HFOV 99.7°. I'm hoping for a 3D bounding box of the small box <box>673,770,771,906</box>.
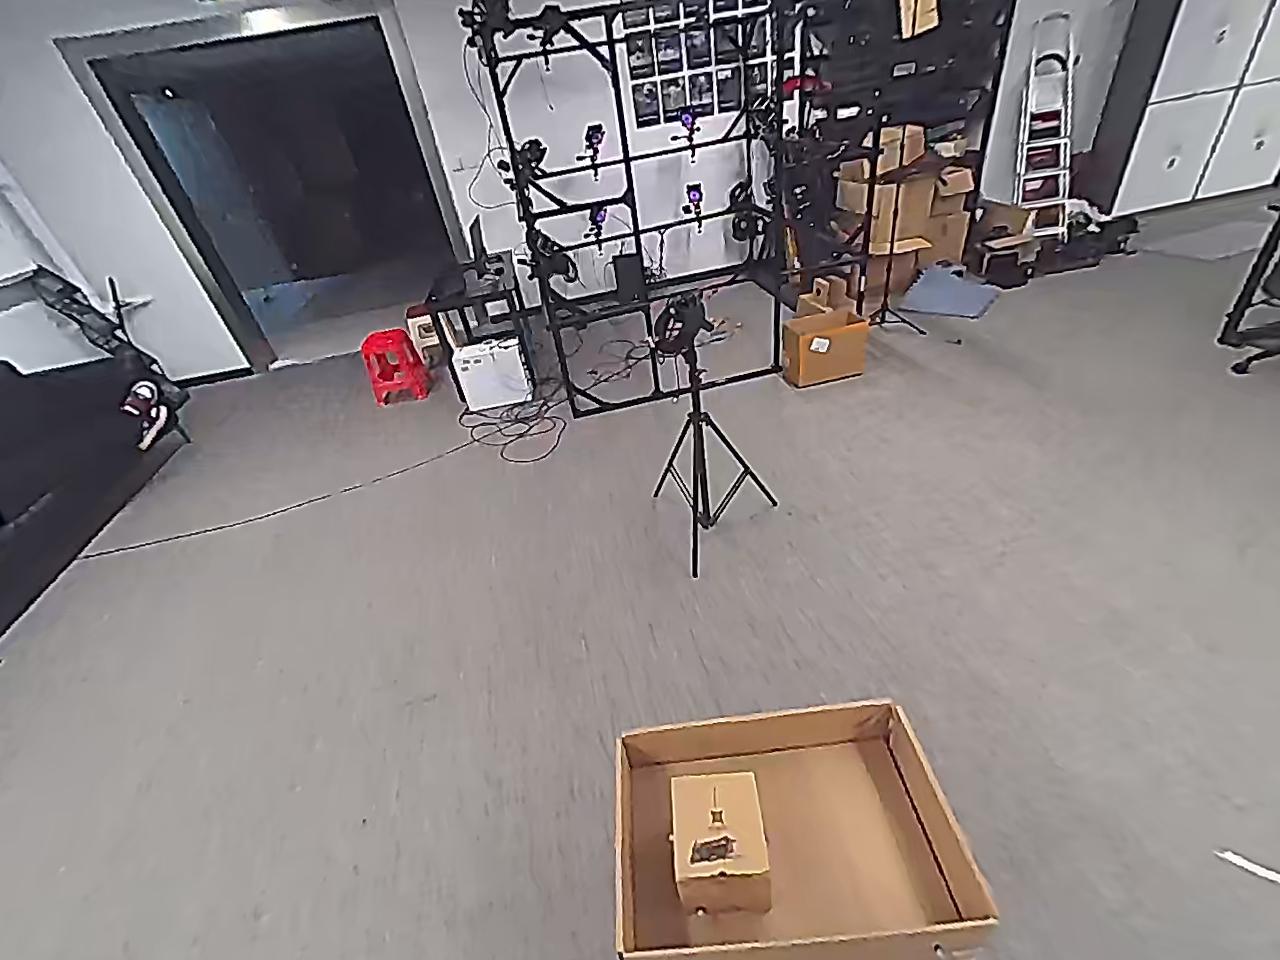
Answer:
[{"bbox_3d":[0.156,0.691,1.039,0.168,0.176,0.179,-6,34,5],"label":"small box"}]
